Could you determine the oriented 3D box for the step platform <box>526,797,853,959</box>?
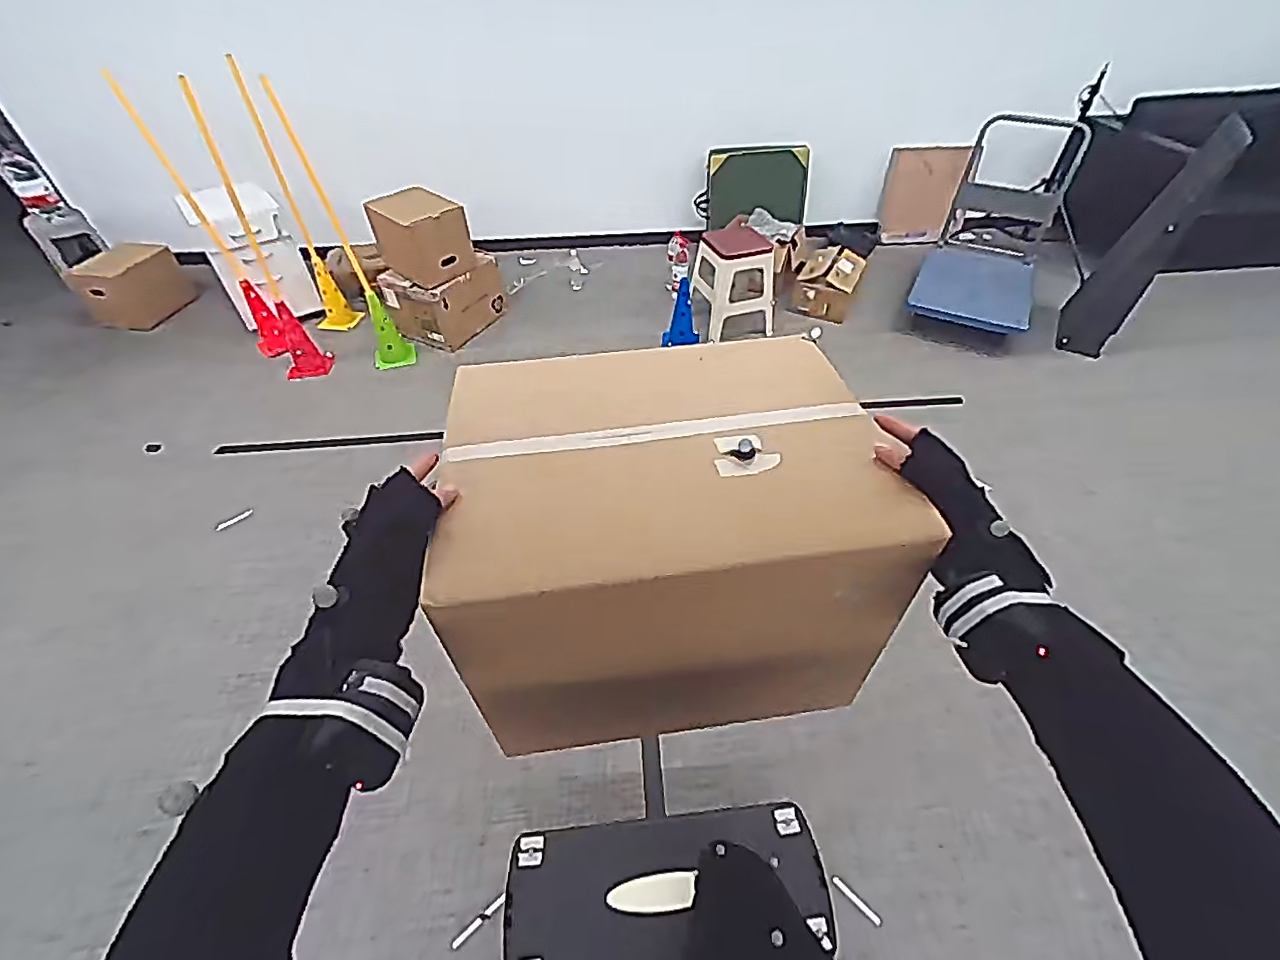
[{"bbox_3d":[0.096,0.905,1.189,0.684,0.204,0.286,-4,46,-5],"label":"step platform"}]

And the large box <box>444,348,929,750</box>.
[{"bbox_3d":[0.024,0.074,0.632,0.408,0.320,0.320,-6,45,-5],"label":"large box"}]
